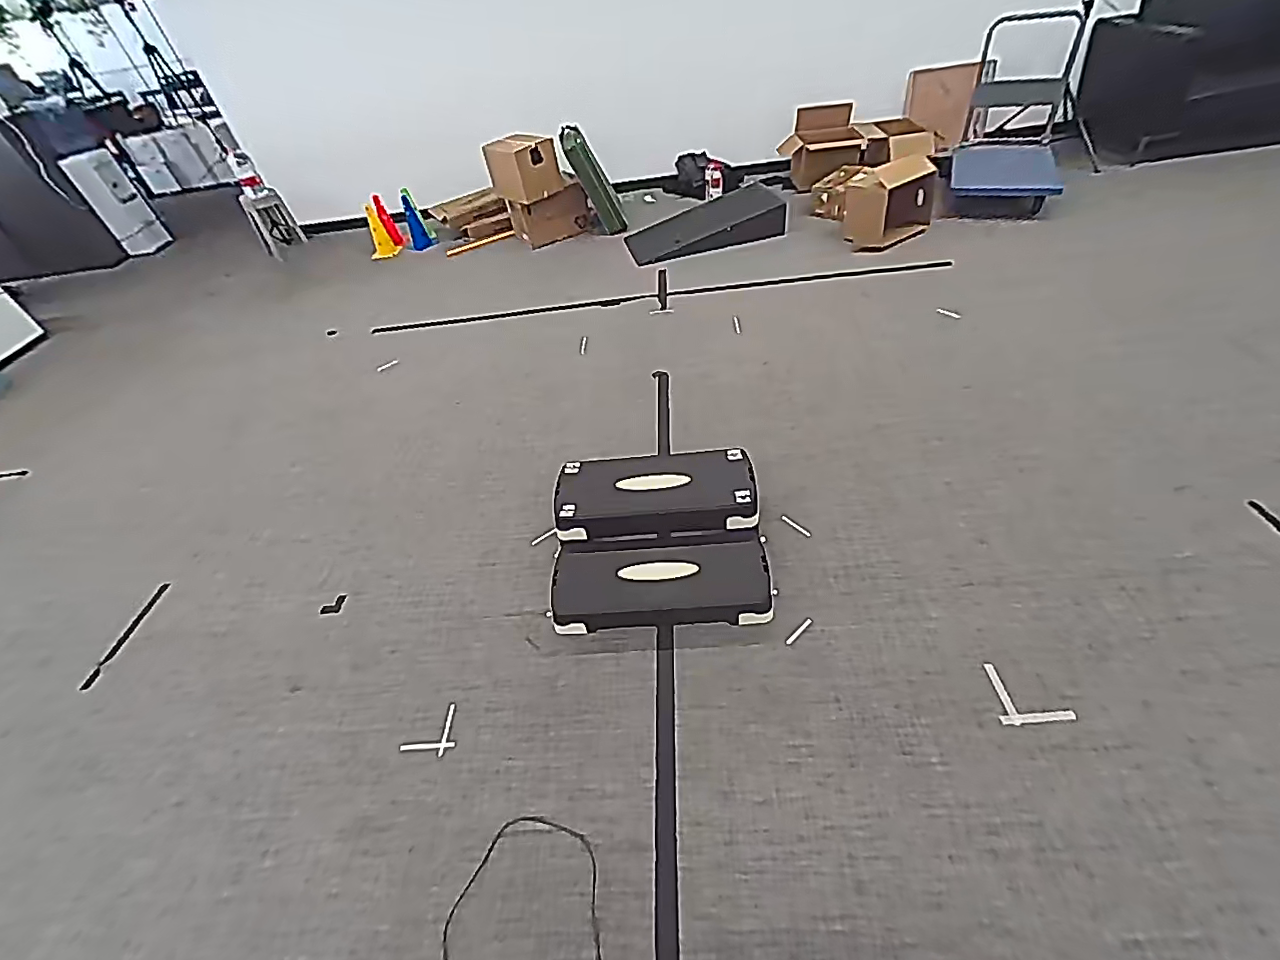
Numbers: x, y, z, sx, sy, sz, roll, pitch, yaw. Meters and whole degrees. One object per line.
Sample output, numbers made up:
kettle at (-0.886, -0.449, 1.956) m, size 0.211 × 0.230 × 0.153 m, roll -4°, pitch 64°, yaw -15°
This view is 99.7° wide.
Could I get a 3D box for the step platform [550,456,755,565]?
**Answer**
step platform at (0.041, 0.098, 1.836) m, size 0.684 × 0.204 × 0.286 m, roll -5°, pitch 45°, yaw 4°
